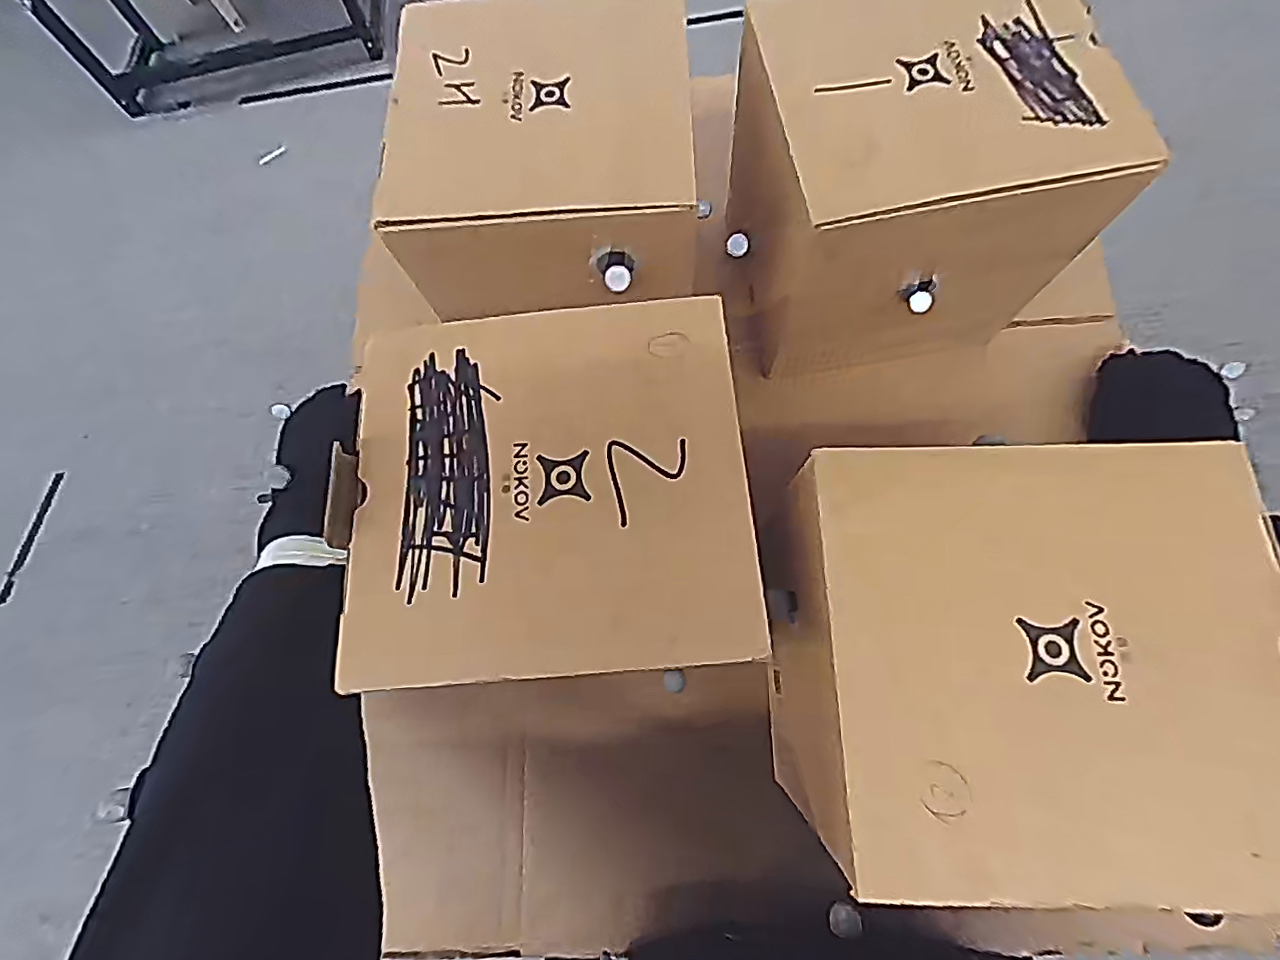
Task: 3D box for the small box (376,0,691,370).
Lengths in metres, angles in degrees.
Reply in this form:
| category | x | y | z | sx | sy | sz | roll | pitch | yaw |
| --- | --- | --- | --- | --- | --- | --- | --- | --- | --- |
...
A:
| category | x | y | z | sx | sy | sz | roll | pitch | yaw |
| --- | --- | --- | --- | --- | --- | --- | --- | --- | --- |
| small box | -0.055 | -0.193 | 0.392 | 0.179 | 0.176 | 0.168 | -2 | 73 | 5 |
